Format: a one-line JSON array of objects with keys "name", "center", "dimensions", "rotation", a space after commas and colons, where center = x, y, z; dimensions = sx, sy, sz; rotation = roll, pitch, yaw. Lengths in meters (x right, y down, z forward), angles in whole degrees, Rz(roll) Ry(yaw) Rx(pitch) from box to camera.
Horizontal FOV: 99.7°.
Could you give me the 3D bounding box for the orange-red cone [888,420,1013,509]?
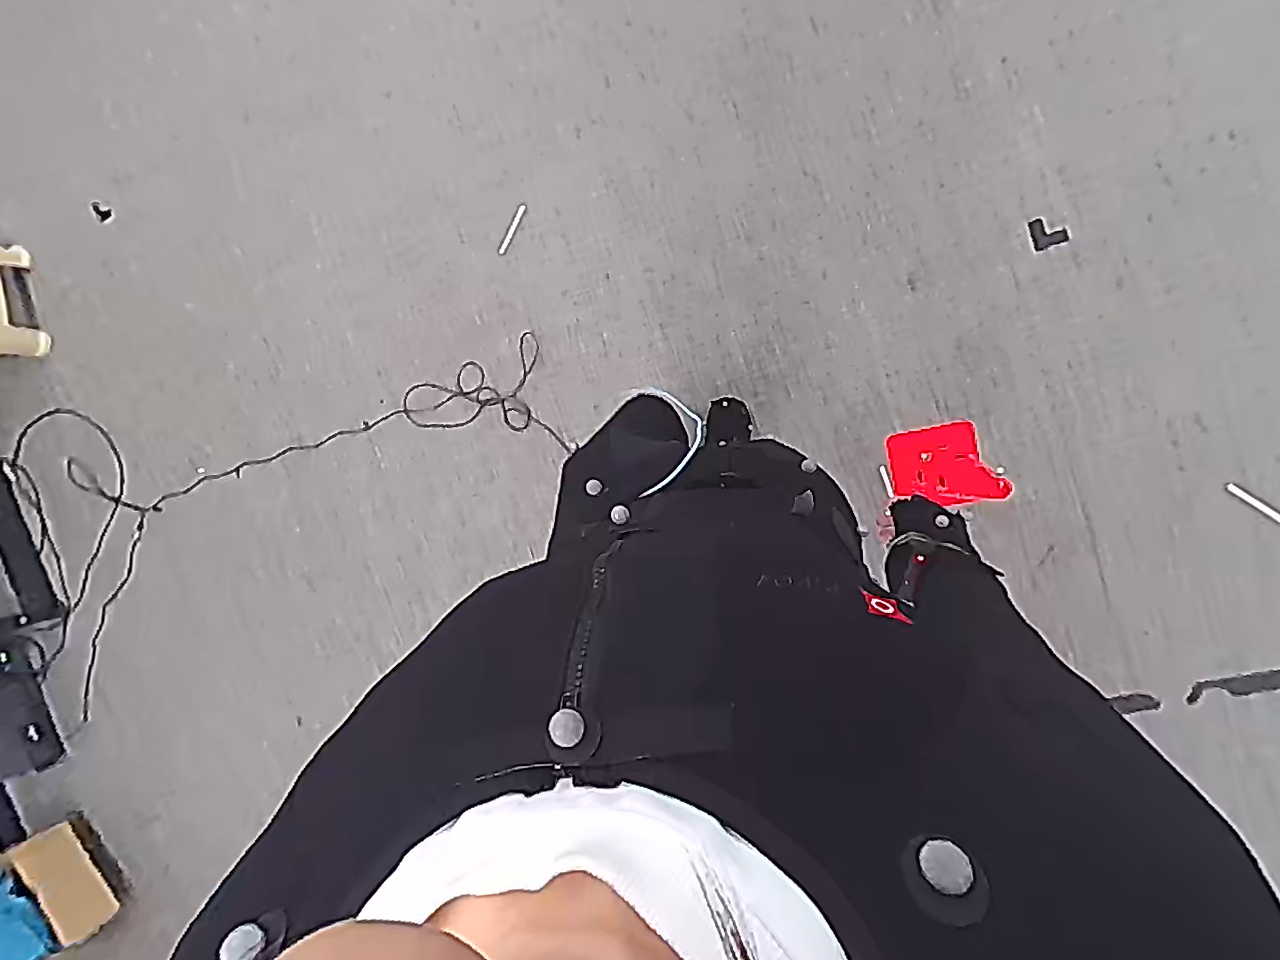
[{"name": "orange-red cone", "center": [0.677, -0.013, 1.130], "dimensions": [0.199, 0.360, 0.198], "rotation": [-10, 96, 11]}]
